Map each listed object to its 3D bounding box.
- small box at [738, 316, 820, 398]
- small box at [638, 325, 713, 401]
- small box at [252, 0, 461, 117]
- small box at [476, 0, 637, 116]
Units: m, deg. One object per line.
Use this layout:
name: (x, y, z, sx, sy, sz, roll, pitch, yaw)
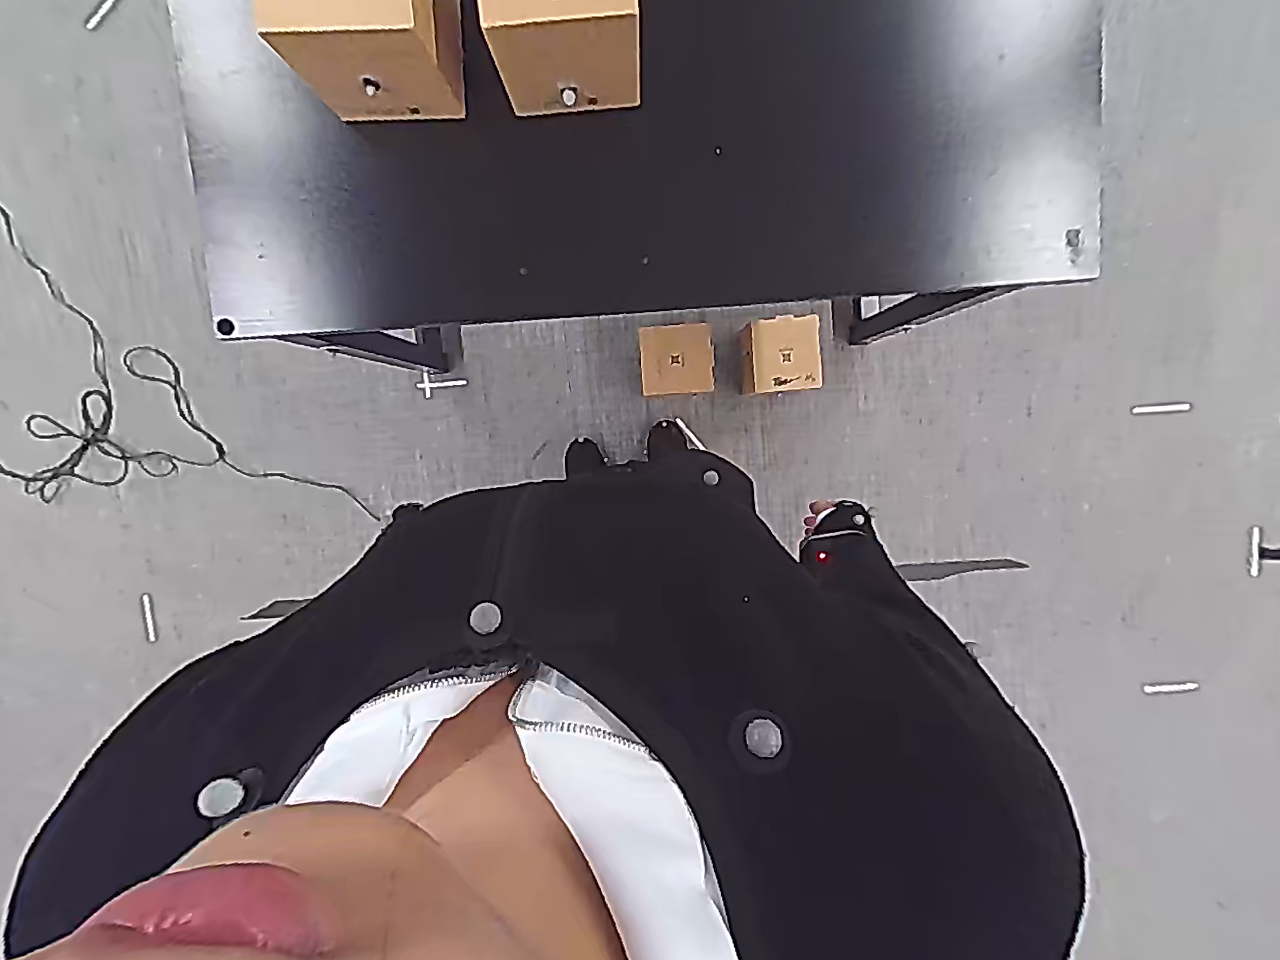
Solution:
small box: (0.348, -0.308, 1.380, 0.168, 0.176, 0.179, -5, 95, 1)
small box: (0.085, -0.294, 1.385, 0.179, 0.176, 0.168, -4, 95, 2)
small box: (-0.315, -0.554, 0.627, 0.168, 0.176, 0.179, -1, 95, -1)
small box: (-0.091, -0.564, 0.625, 0.168, 0.176, 0.179, -4, 96, 1)
